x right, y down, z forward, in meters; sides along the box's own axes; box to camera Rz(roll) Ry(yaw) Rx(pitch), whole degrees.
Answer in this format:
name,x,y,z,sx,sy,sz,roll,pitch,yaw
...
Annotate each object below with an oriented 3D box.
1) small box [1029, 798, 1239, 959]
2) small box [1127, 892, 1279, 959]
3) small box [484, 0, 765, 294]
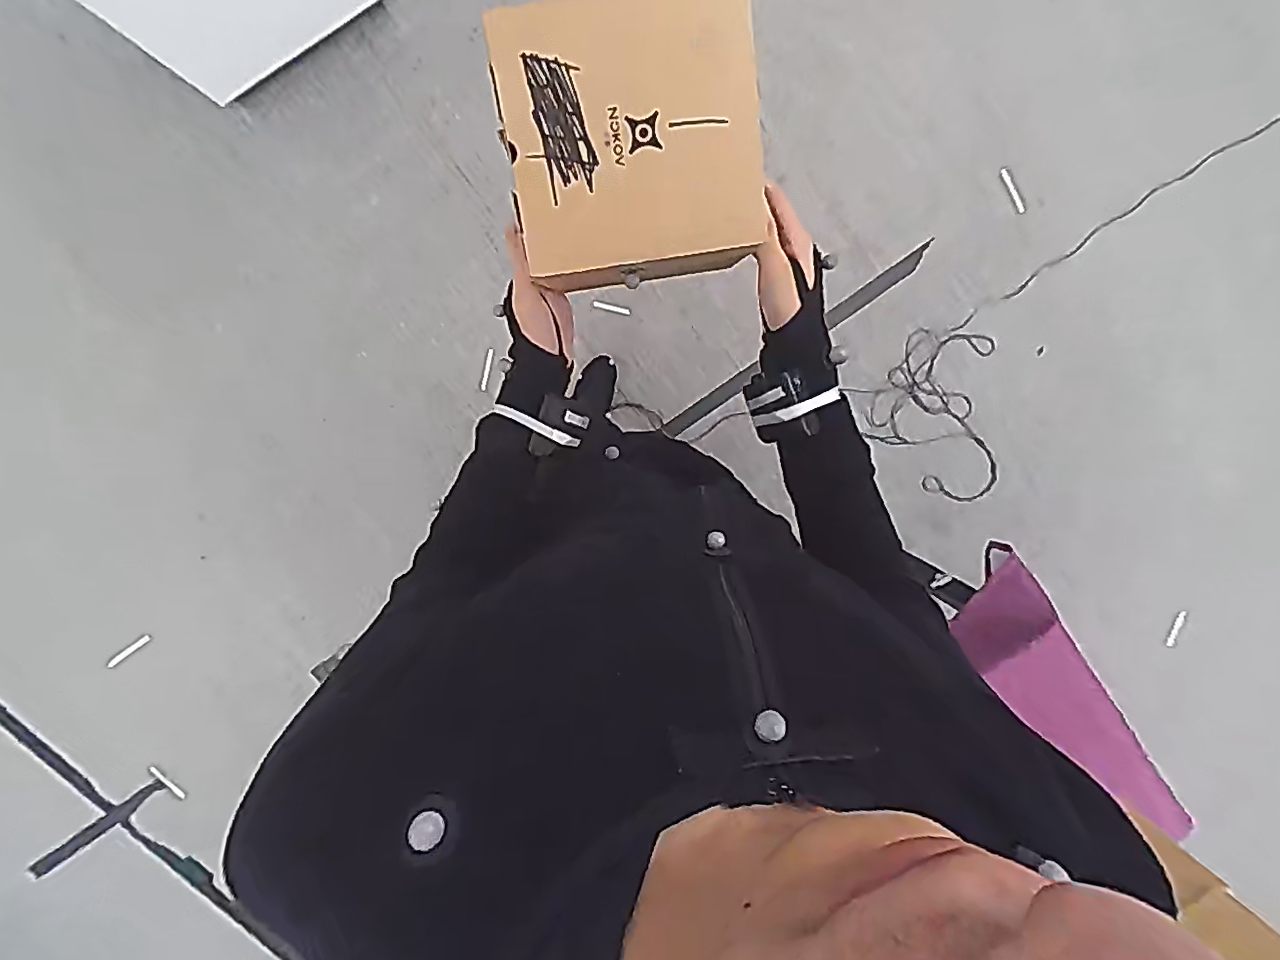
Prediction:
name,x,y,z,sx,sy,sz,roll,pitch,yaw
small box,0.753,0.634,0.823,0.179,0.176,0.168,-28,101,1
small box,0.764,0.660,0.663,0.168,0.176,0.179,-35,102,2
small box,-0.007,-0.254,0.447,0.179,0.176,0.168,-9,106,1
